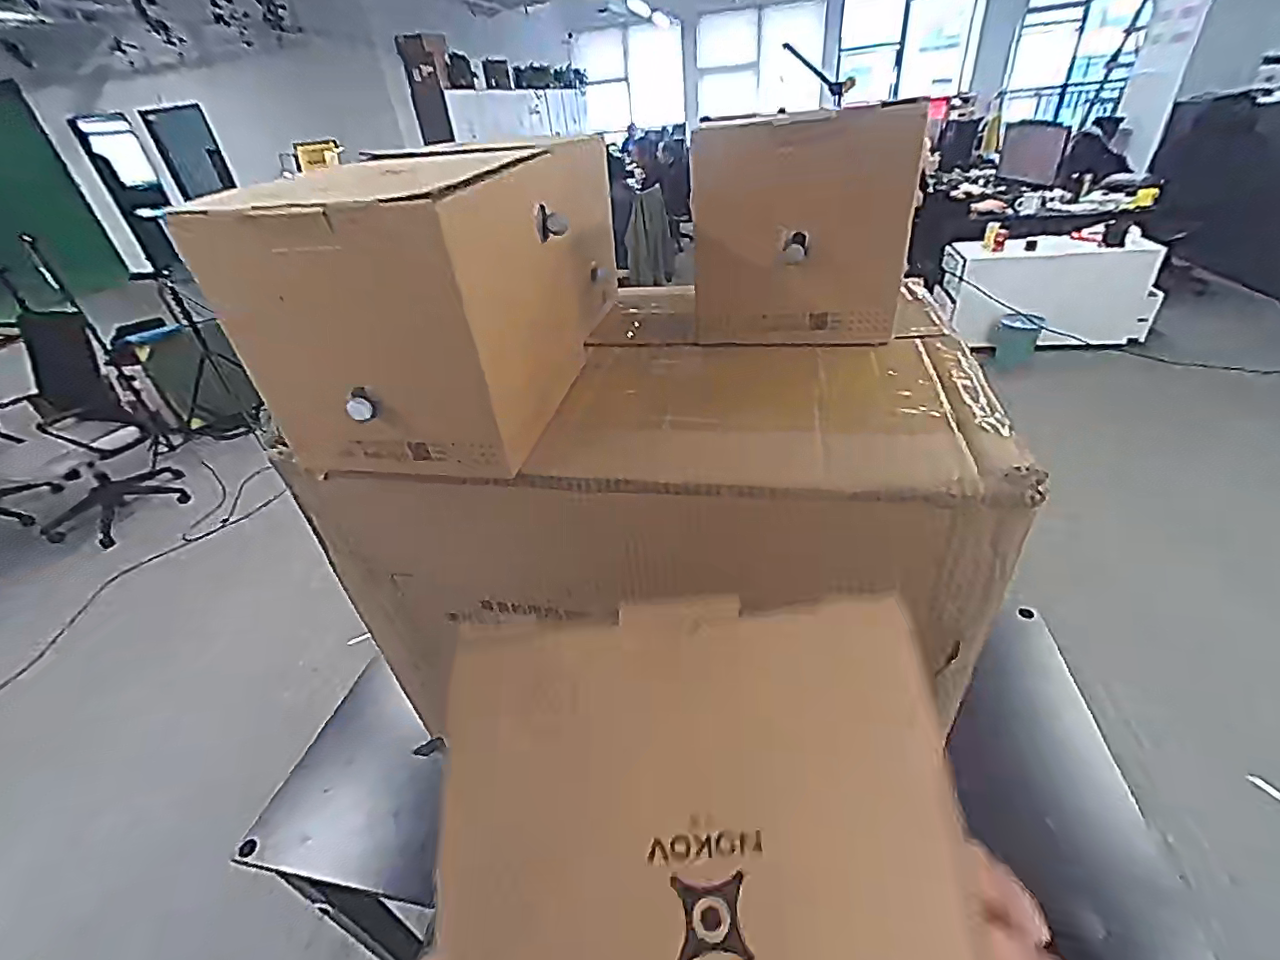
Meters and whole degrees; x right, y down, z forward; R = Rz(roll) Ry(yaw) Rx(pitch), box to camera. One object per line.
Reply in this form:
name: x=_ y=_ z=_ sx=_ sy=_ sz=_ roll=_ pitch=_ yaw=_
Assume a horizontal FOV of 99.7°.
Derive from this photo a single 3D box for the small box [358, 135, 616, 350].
small box: x=-0.132 y=-0.238 z=0.543 sx=0.179 sy=0.176 sz=0.168 roll=4 pitch=35 yaw=12
